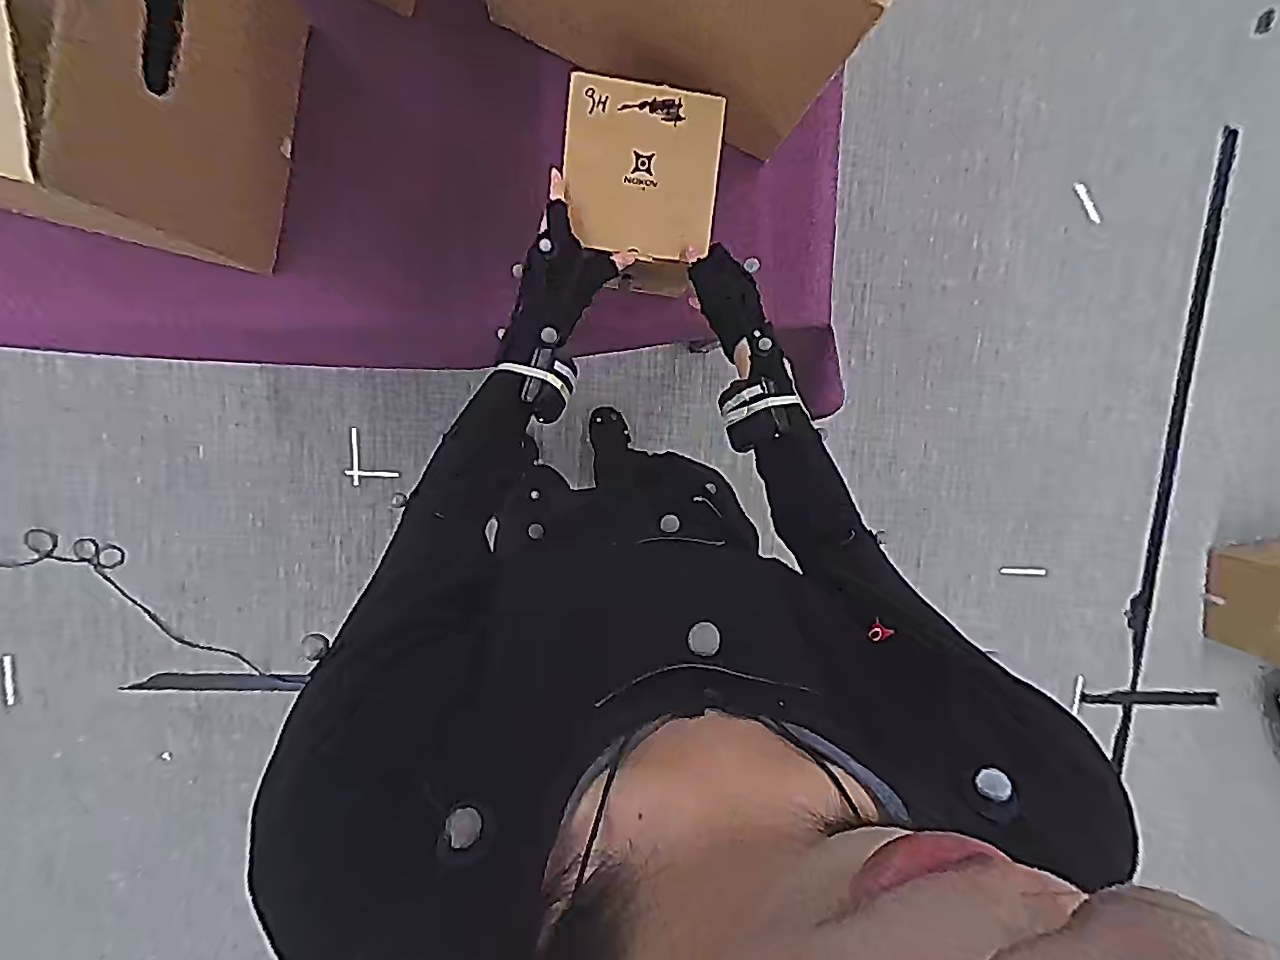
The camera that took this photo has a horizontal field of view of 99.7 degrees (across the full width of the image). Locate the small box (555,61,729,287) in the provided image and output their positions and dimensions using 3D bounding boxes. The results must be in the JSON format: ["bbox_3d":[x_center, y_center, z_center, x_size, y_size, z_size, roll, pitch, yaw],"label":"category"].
[{"bbox_3d":[-0.005,-0.339,0.640,0.168,0.176,0.179,6,98,-7],"label":"small box"}]
